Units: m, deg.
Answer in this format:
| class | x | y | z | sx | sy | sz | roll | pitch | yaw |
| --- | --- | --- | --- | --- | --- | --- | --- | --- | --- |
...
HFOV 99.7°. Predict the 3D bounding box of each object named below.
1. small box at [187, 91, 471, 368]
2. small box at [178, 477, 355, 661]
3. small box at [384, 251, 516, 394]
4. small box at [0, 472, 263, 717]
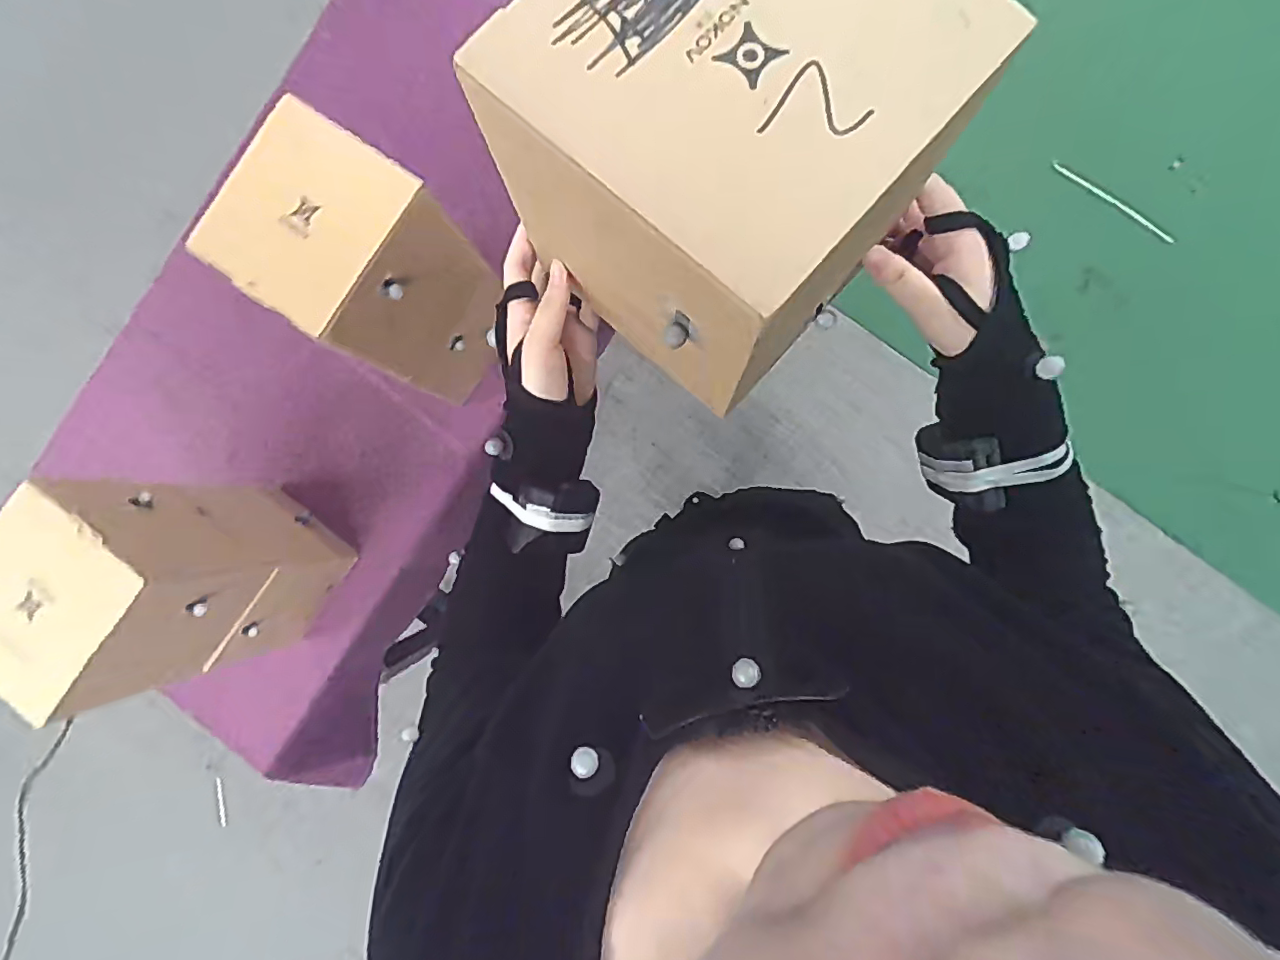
| class | x | y | z | sx | sy | sz | roll | pitch | yaw |
| --- | --- | --- | --- | --- | --- | --- | --- | --- | --- |
| small box | -0.308 | -0.248 | 0.581 | 0.168 | 0.176 | 0.179 | 35 | 92 | 4 |
| small box | -0.551 | 0.115 | 0.753 | 0.179 | 0.176 | 0.168 | 36 | 92 | 6 |
| small box | -0.297 | -0.240 | 0.743 | 0.168 | 0.176 | 0.179 | 35 | 91 | 5 |
| small box | -0.564 | 0.109 | 0.590 | 0.168 | 0.176 | 0.179 | 38 | 92 | 5 |
